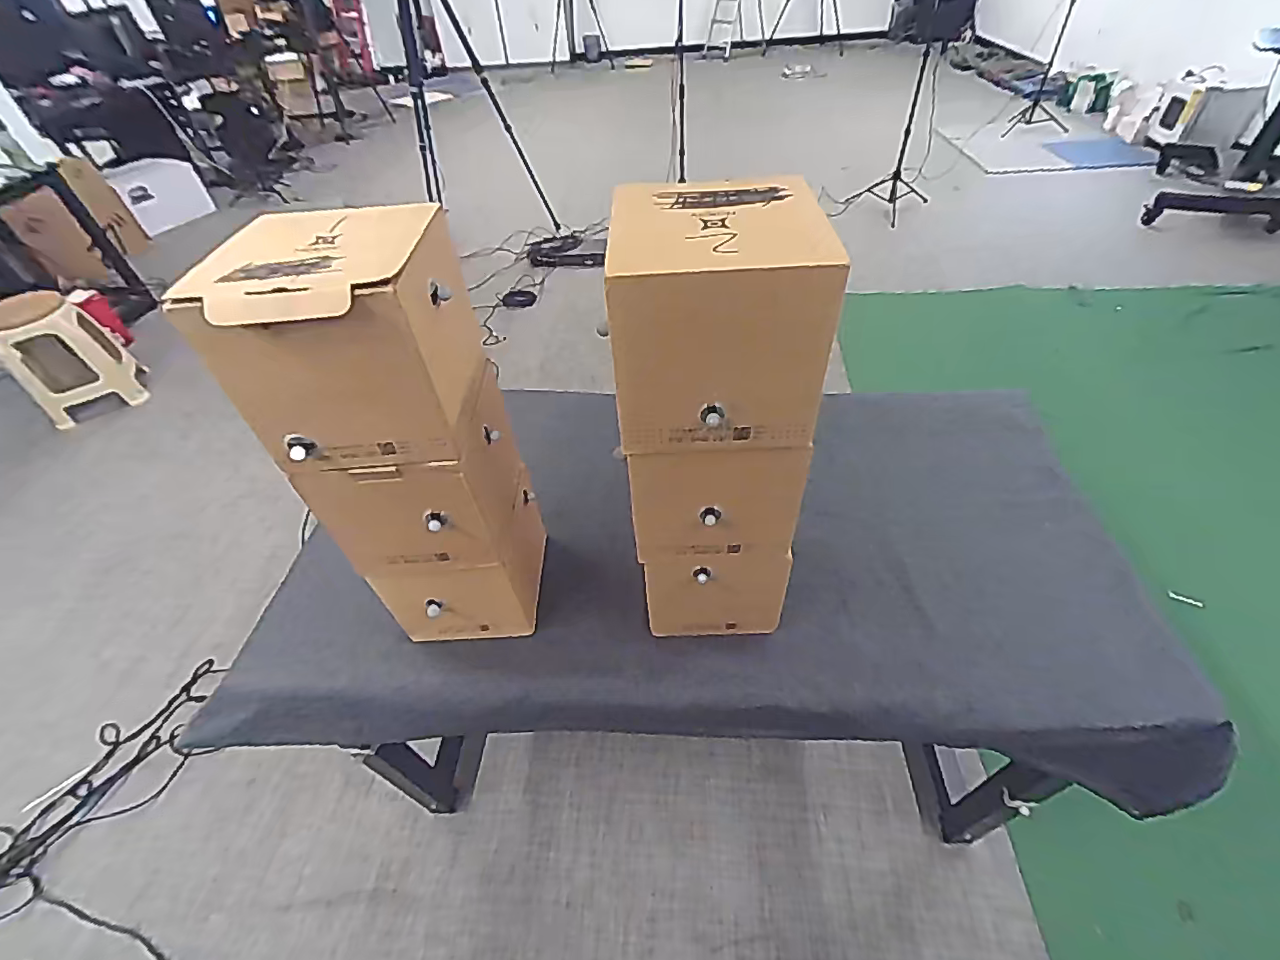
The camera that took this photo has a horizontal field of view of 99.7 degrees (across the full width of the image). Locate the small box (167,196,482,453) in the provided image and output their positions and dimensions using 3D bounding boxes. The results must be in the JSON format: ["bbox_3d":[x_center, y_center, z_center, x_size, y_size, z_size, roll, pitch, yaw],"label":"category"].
[{"bbox_3d":[-0.252,-0.136,0.493,0.168,0.176,0.179,-4,45,-2],"label":"small box"}]

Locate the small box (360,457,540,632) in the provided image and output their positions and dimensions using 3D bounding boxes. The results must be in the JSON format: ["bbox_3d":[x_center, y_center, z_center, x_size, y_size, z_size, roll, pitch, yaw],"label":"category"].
[{"bbox_3d":[-0.236,0.092,0.727,0.168,0.176,0.179,-3,45,1],"label":"small box"}]

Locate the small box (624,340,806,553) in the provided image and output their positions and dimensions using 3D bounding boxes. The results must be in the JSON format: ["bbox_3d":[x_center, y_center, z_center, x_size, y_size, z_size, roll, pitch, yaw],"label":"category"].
[{"bbox_3d":[0.073,-0.032,0.594,0.168,0.176,0.179,-1,46,2],"label":"small box"}]

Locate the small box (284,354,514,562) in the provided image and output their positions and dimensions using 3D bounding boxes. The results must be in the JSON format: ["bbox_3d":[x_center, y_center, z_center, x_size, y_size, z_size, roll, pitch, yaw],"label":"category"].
[{"bbox_3d":[-0.246,-0.020,0.609,0.168,0.176,0.179,-3,44,-1],"label":"small box"}]

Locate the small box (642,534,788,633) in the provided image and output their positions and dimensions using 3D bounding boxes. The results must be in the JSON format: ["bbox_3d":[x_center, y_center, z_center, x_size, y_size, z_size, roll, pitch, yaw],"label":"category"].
[{"bbox_3d":[0.088,0.082,0.714,0.168,0.176,0.179,-2,45,2],"label":"small box"}]
